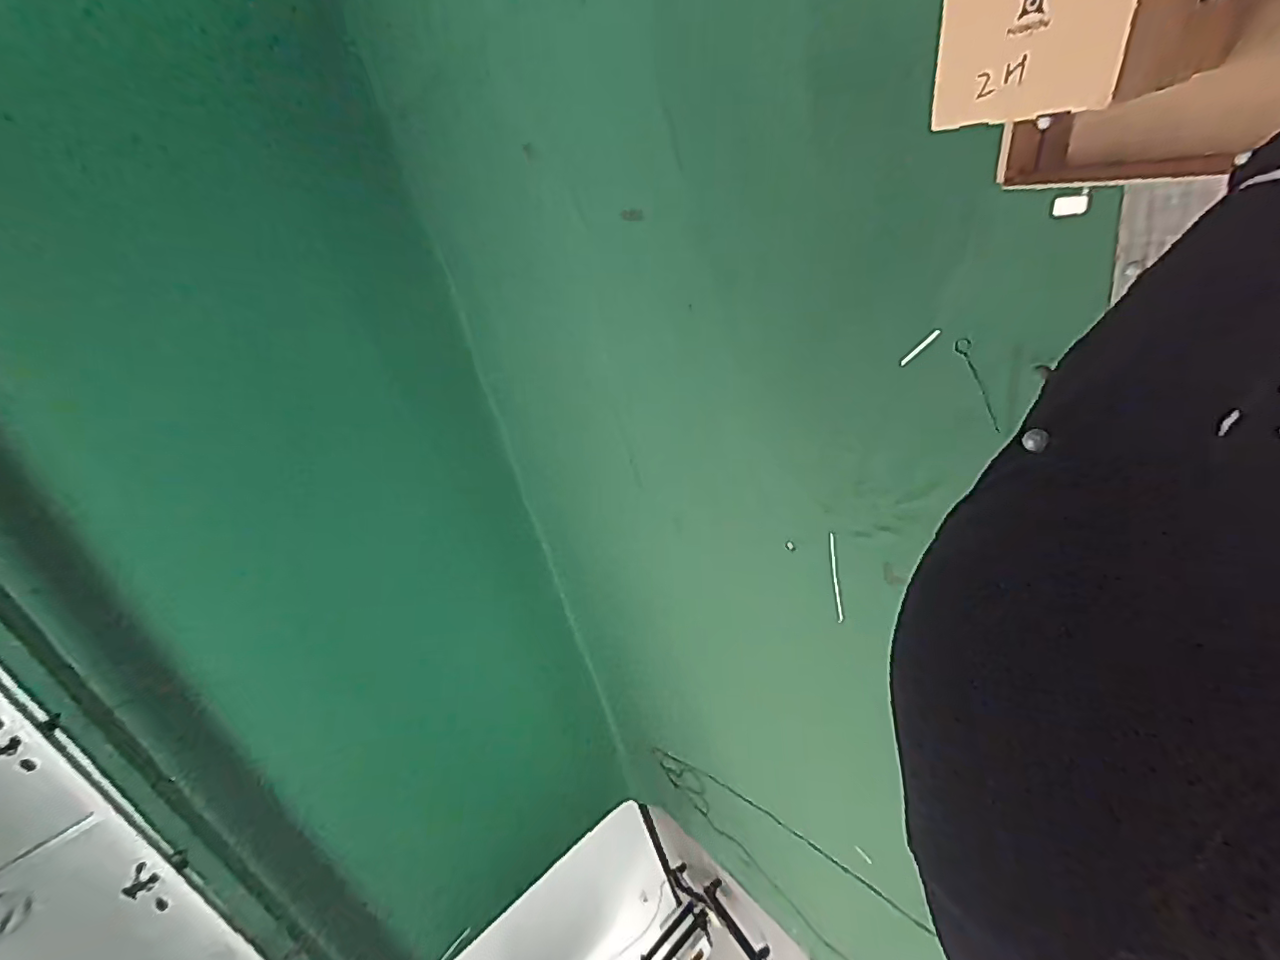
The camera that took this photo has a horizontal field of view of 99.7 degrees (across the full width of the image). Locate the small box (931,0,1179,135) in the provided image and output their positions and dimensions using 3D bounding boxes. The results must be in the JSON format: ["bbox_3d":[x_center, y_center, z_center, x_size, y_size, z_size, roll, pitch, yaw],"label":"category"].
[{"bbox_3d":[0.435,-0.478,0.562,0.168,0.176,0.179,25,136,43],"label":"small box"}]
